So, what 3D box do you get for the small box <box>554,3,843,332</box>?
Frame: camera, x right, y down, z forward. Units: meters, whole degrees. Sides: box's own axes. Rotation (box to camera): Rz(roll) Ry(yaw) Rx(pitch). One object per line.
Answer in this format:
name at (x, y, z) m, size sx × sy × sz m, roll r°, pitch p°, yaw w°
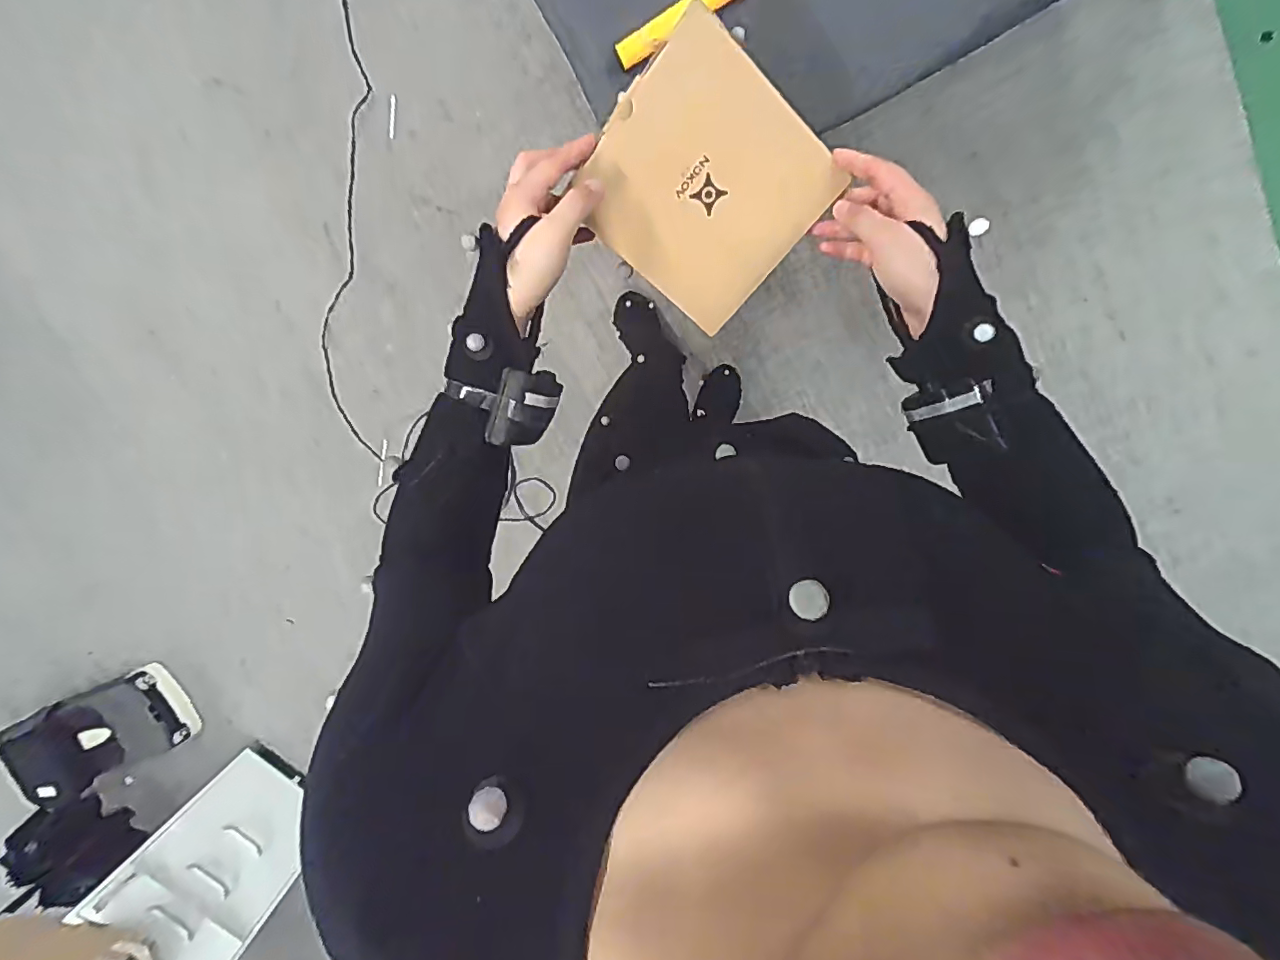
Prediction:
small box at (0.046, -0.272, 0.501) m, size 0.179 × 0.176 × 0.168 m, roll 36°, pitch 112°, yaw -19°
